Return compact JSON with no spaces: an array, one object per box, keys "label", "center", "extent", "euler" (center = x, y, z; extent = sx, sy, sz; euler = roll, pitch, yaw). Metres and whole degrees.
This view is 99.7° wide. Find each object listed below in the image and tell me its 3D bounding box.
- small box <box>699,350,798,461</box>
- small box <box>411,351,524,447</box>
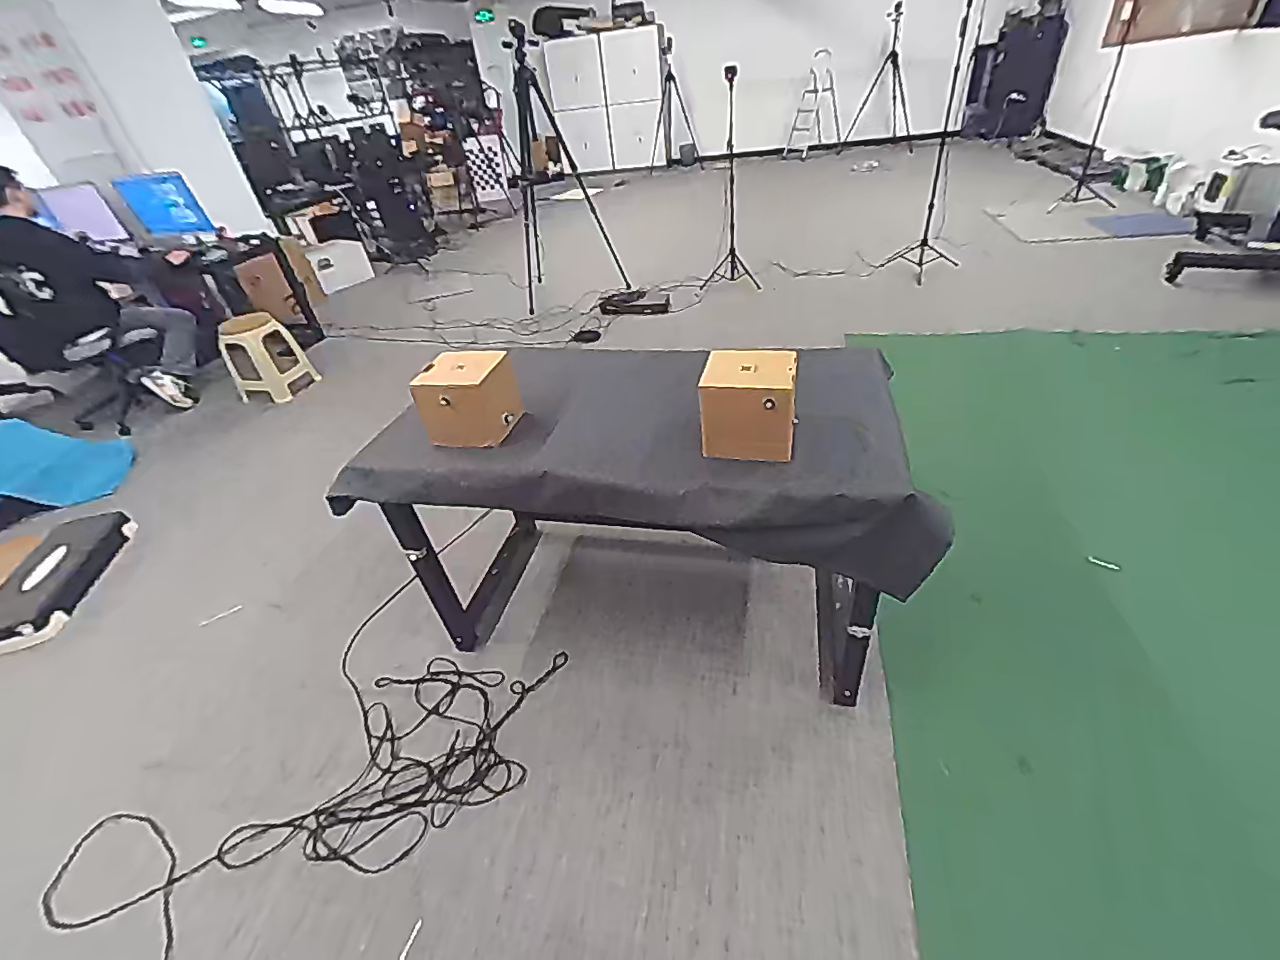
[{"label":"small box","center":[0.224,-0.153,1.104],"extent":[0.179,0.176,0.168],"euler":[5,38,16]},{"label":"small box","center":[-0.395,-0.191,1.270],"extent":[0.179,0.176,0.168],"euler":[3,39,13]}]
